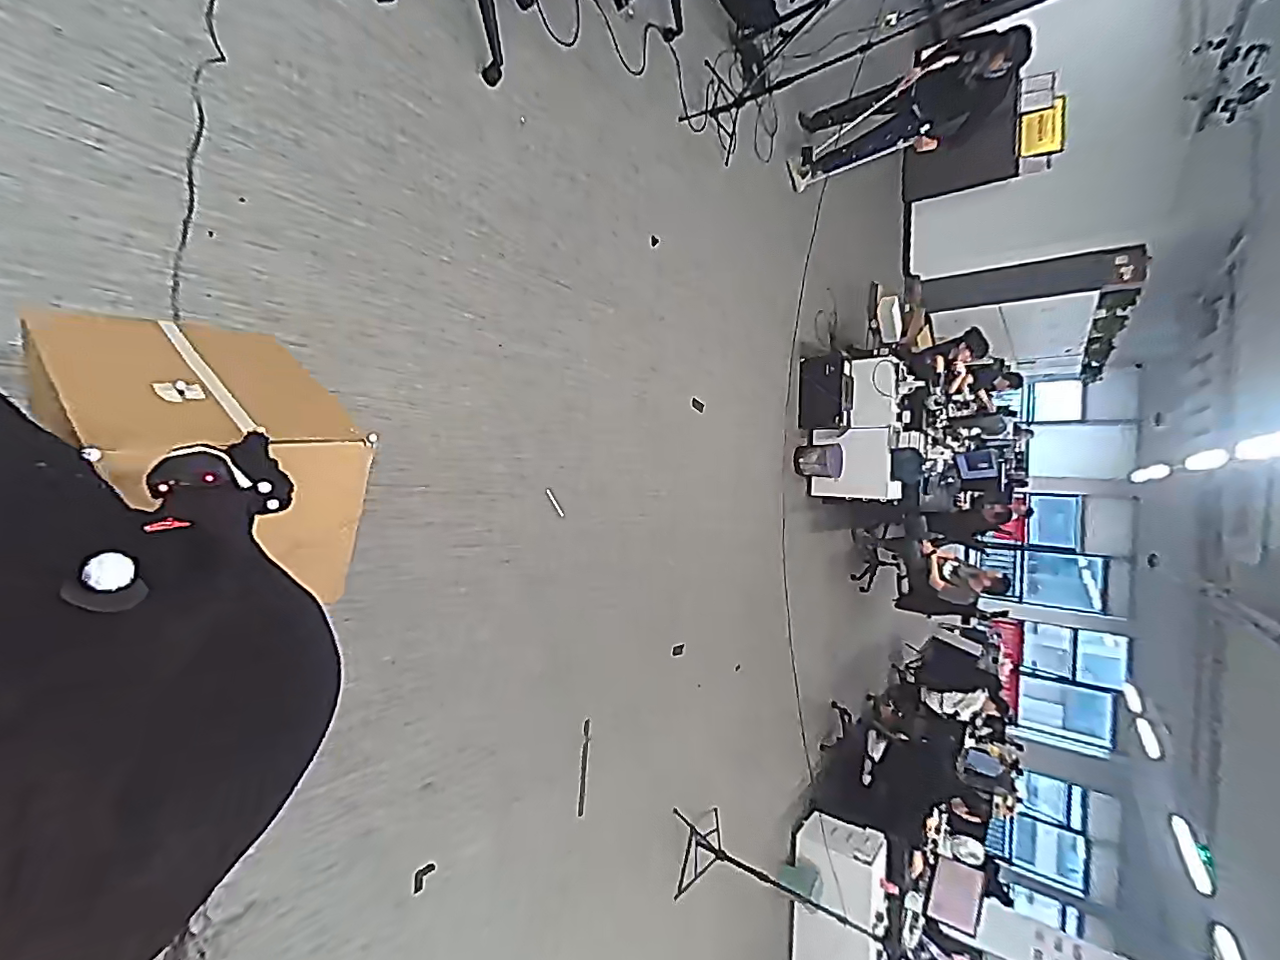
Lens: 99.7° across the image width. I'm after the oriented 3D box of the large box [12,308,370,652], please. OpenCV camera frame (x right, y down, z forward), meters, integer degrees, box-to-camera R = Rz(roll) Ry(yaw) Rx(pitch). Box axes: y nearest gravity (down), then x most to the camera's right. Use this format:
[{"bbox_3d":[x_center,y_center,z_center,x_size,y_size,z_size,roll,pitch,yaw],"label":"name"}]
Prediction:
[{"bbox_3d":[-0.693,-0.021,0.837,0.320,0.408,0.320,-11,132,-52],"label":"large box"}]
